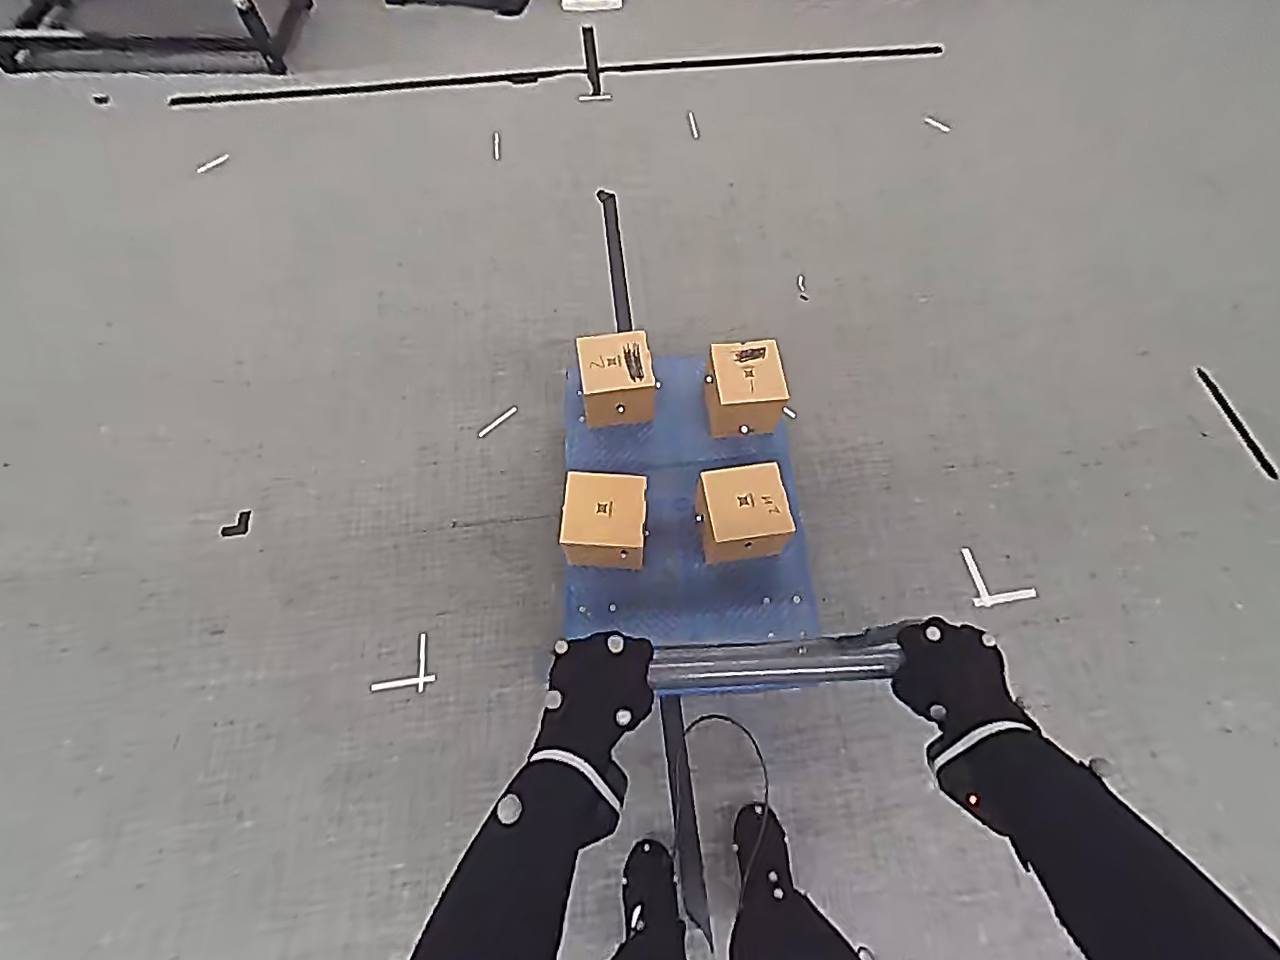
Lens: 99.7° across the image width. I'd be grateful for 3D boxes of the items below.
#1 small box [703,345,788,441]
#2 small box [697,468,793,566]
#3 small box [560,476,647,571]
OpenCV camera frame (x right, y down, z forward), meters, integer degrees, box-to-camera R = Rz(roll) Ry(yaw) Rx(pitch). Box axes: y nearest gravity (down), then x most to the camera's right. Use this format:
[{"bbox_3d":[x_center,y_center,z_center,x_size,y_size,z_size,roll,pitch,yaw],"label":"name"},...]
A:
[{"bbox_3d":[0.259,-0.218,1.375,0.168,0.176,0.179,-5,67,-3],"label":"small box"},{"bbox_3d":[0.229,0.089,1.236,0.179,0.176,0.168,-7,66,-4],"label":"small box"},{"bbox_3d":[-0.078,0.104,1.228,0.179,0.176,0.168,4,65,0],"label":"small box"}]
